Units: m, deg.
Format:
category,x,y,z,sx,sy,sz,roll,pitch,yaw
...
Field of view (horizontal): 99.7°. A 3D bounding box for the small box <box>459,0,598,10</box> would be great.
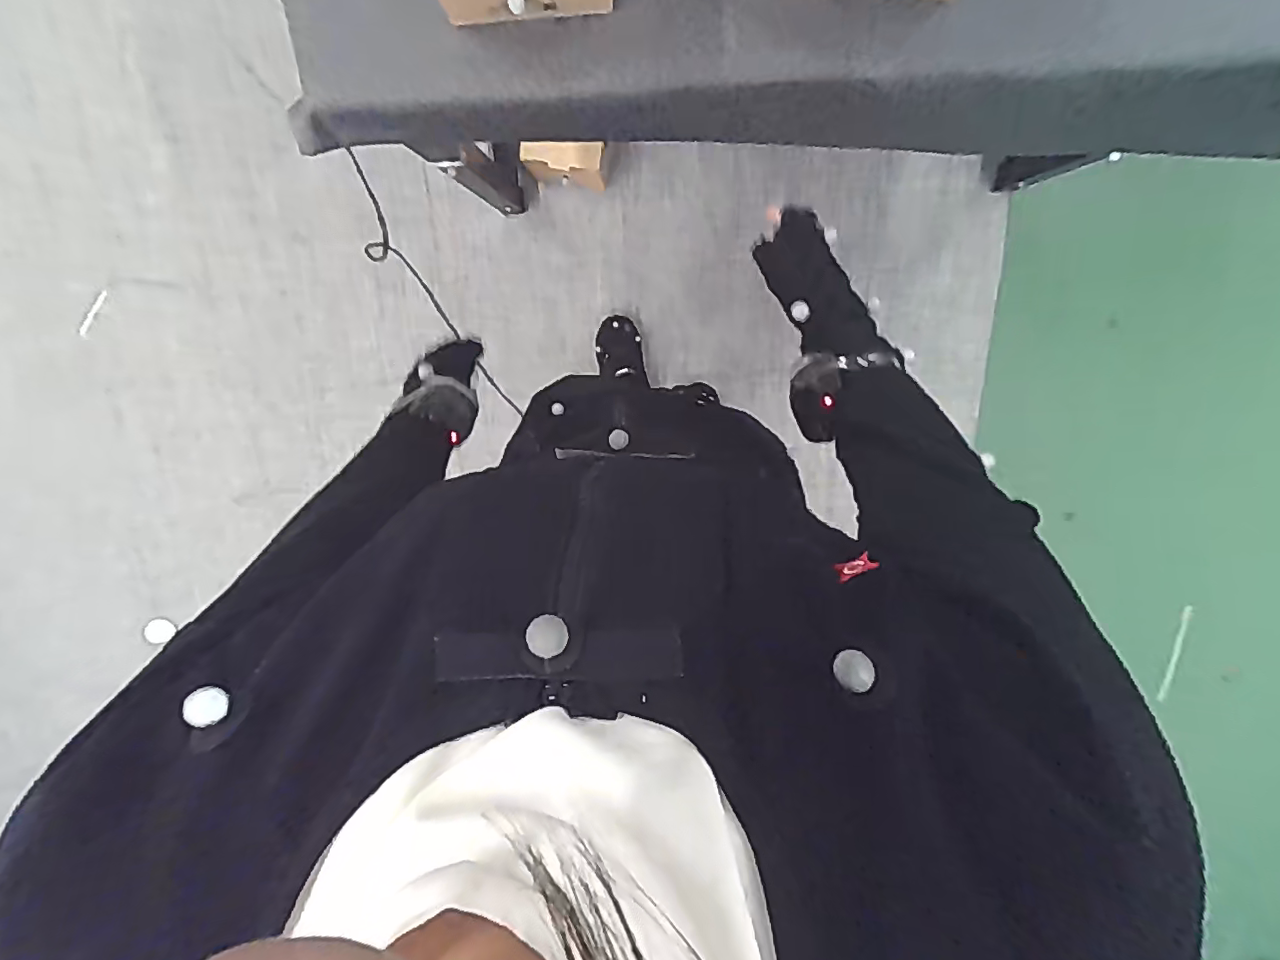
category,x,y,z,sx,sy,sz,roll,pitch,yaw
small box,-0.113,-0.537,0.441,0.168,0.176,0.179,-3,106,1
